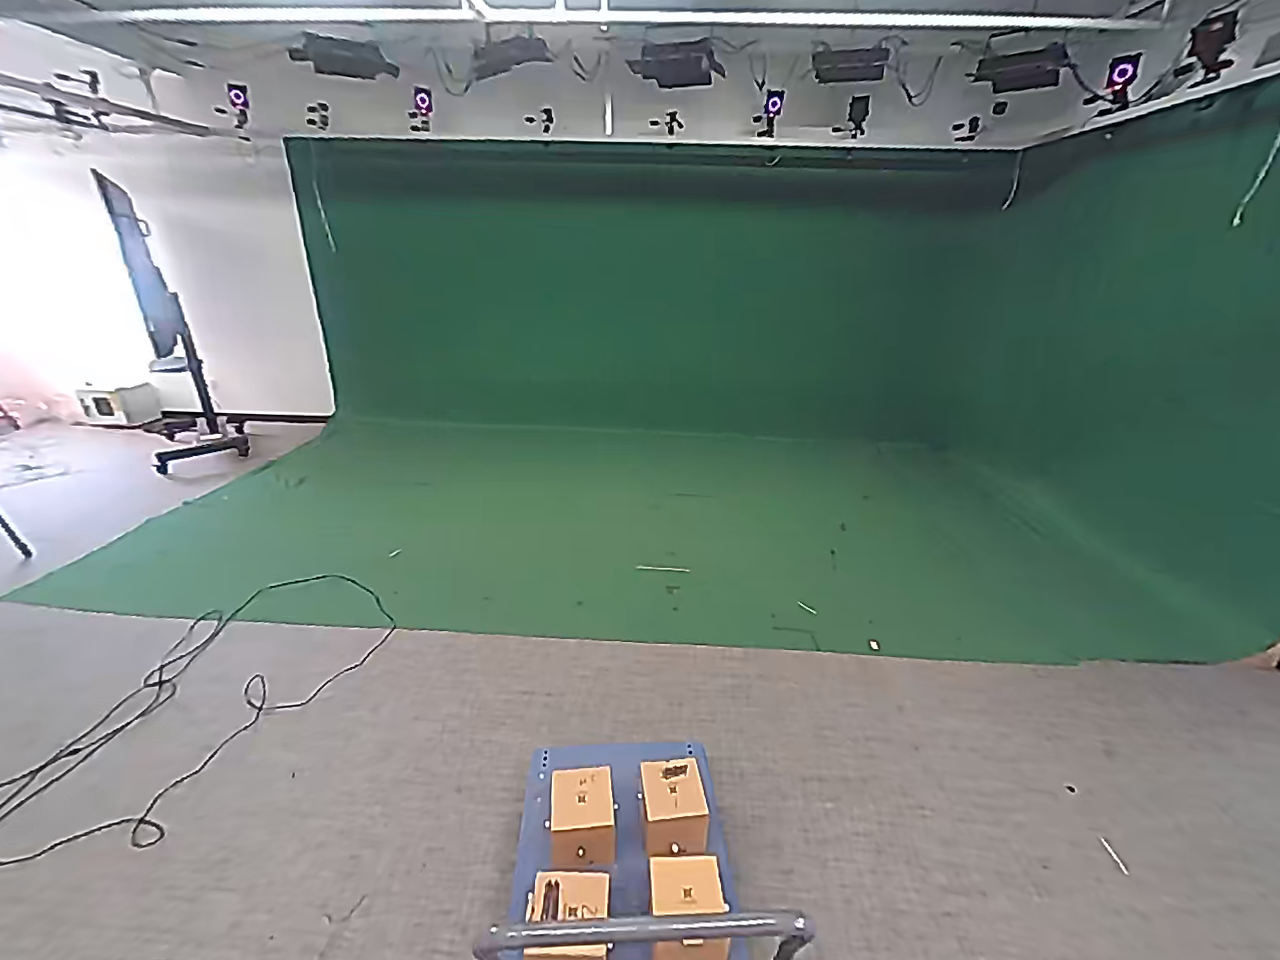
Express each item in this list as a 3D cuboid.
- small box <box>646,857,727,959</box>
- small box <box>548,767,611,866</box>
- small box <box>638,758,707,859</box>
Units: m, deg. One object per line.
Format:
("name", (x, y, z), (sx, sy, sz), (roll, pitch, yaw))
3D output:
("small box", (0.103, 1.035, 1.279), (0.168, 0.176, 0.179), (1, 24, -3))
("small box", (-0.165, 0.932, 1.491), (0.168, 0.176, 0.179), (-1, 24, -8))
("small box", (0.085, 0.924, 1.525), (0.168, 0.176, 0.179), (-2, 25, -7))
